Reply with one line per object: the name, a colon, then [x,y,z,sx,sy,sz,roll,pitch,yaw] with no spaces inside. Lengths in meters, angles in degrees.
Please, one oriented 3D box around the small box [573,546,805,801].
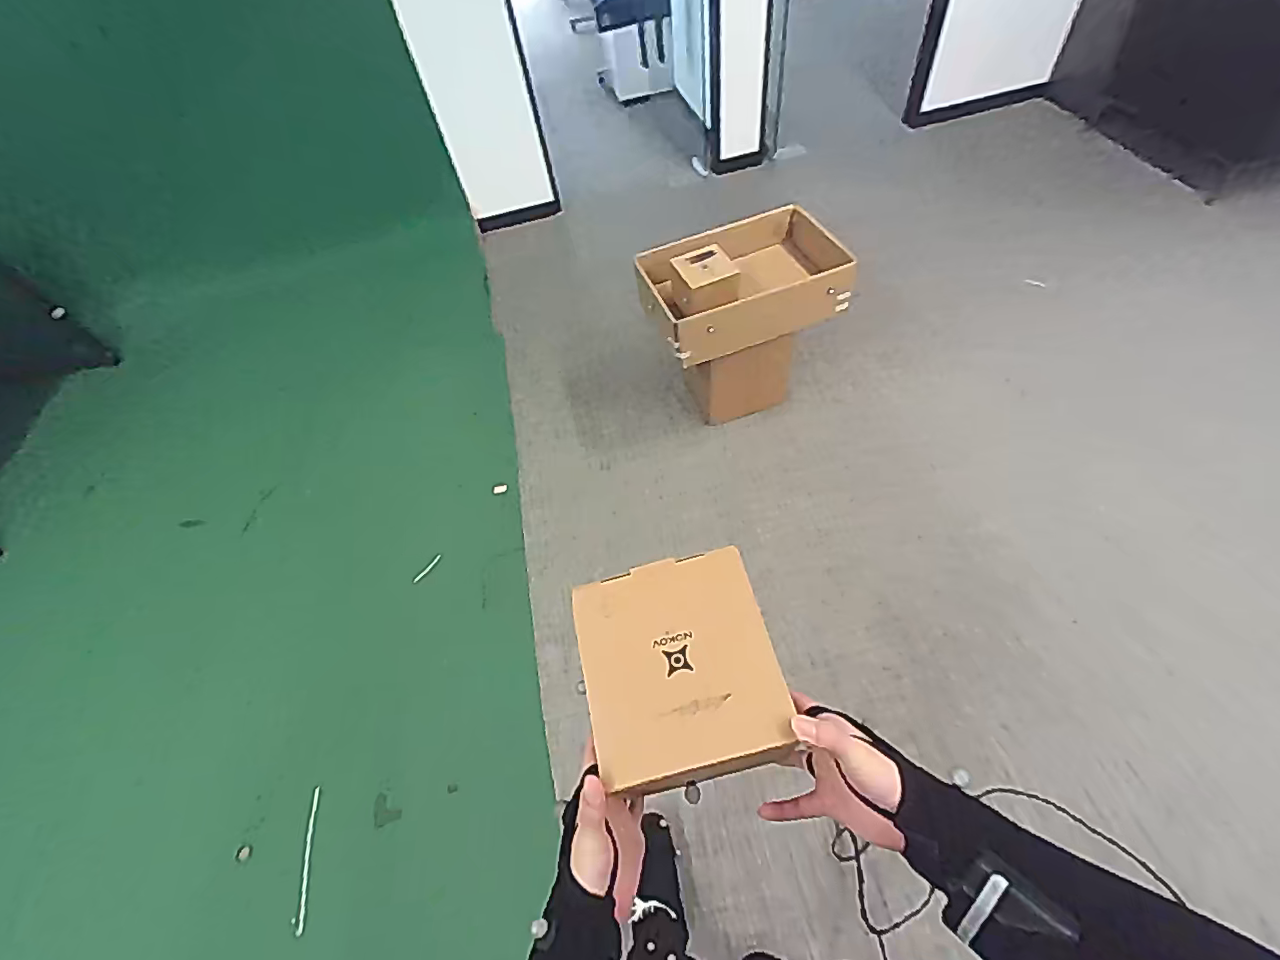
small box: [0.040,0.191,0.521,0.168,0.176,0.179,-13,56,0]
